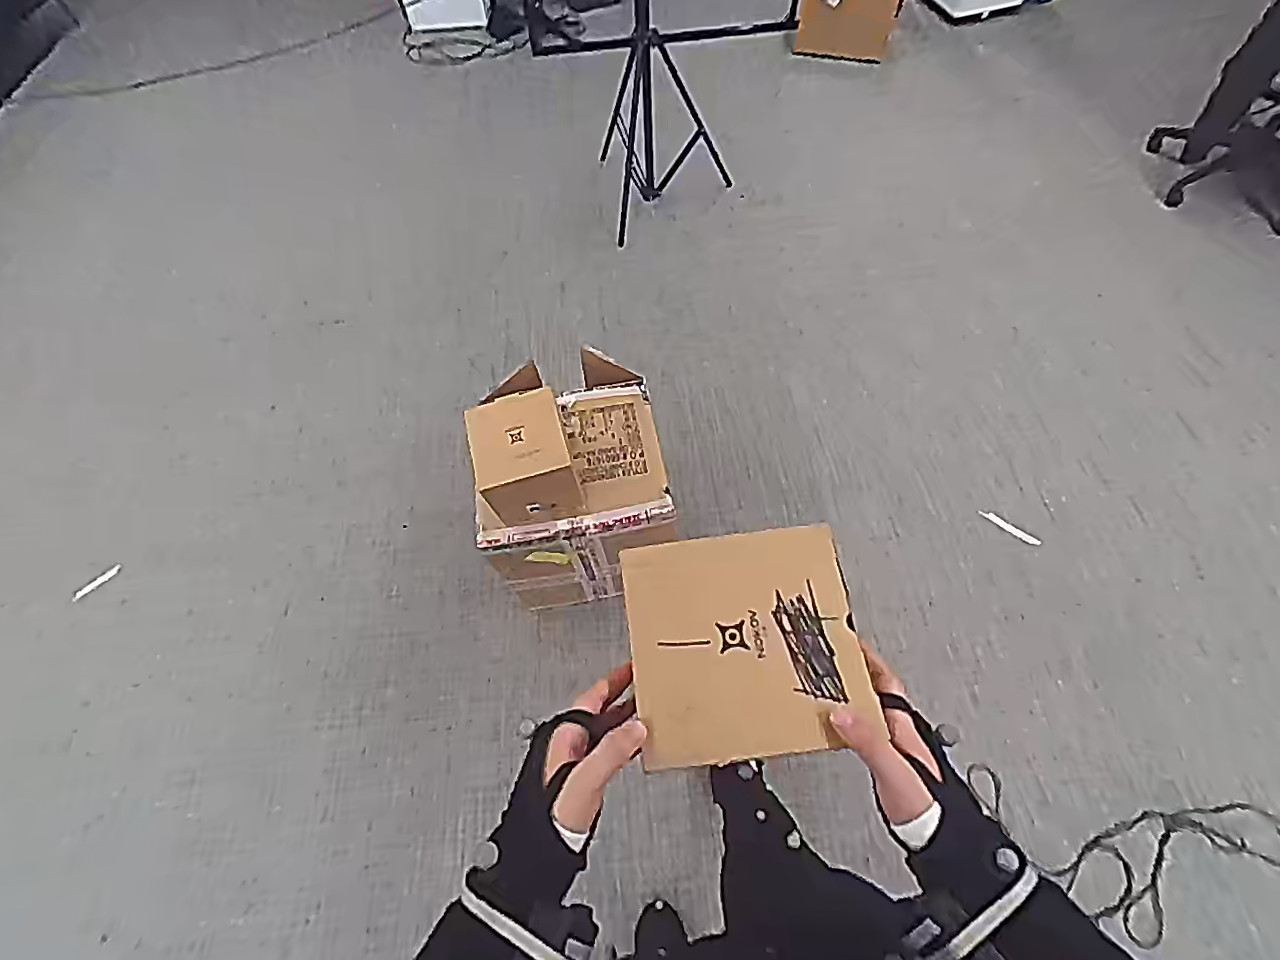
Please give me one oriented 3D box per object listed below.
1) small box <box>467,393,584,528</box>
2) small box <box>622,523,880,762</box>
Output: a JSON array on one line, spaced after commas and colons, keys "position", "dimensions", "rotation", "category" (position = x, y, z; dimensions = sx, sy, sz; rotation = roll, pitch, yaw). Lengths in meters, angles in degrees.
[{"position": [-0.213, -0.032, 1.028], "dimensions": [0.168, 0.176, 0.179], "rotation": [-17, 66, -4], "category": "small box"}, {"position": [0.082, 0.152, 0.491], "dimensions": [0.179, 0.176, 0.168], "rotation": [-8, 63, 0], "category": "small box"}]
